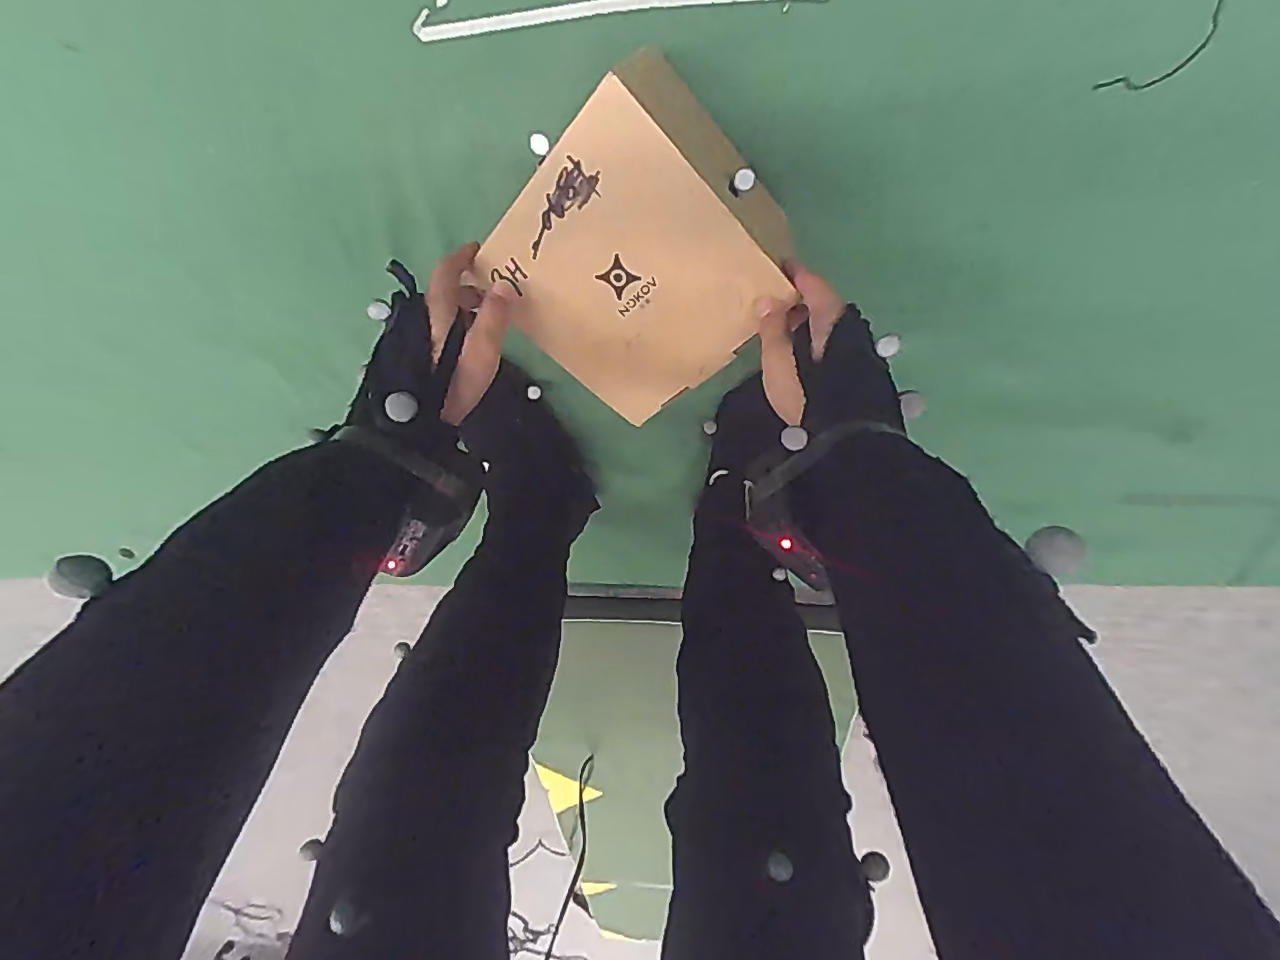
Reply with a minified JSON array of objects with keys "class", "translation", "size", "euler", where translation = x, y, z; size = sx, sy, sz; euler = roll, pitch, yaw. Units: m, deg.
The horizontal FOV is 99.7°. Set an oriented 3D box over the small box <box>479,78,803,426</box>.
[{"class":"small box","translation":[0.010,-0.185,0.440],"size":[0.179,0.176,0.168],"euler":[39,126,-22]}]
